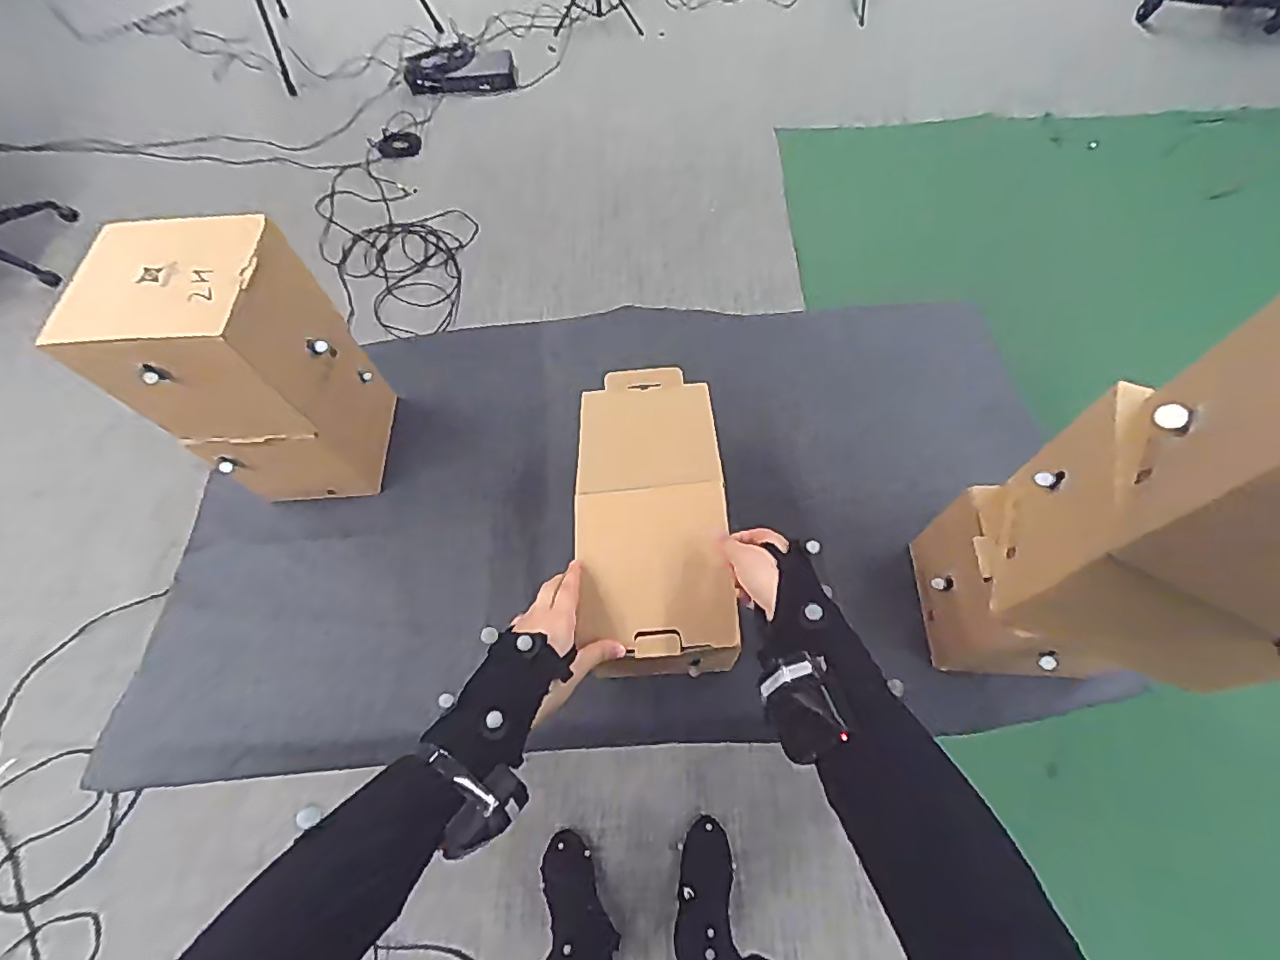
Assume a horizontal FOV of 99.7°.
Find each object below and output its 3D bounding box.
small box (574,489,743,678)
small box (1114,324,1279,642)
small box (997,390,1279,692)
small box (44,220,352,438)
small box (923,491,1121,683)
[{"bbox_3d":[0.021,0.128,0.622,0.168,0.176,0.179,-4,63,2],"label":"small box"},{"bbox_3d":[0.431,-0.001,0.299,0.179,0.176,0.168,30,66,18],"label":"small box"},{"bbox_3d":[0.438,0.059,0.454,0.179,0.176,0.168,21,63,13],"label":"small box"},{"bbox_3d":[-0.461,-0.157,0.600,0.179,0.176,0.168,-3,64,0],"label":"small box"},{"bbox_3d":[0.440,0.125,0.604,0.179,0.176,0.168,2,60,4],"label":"small box"}]
